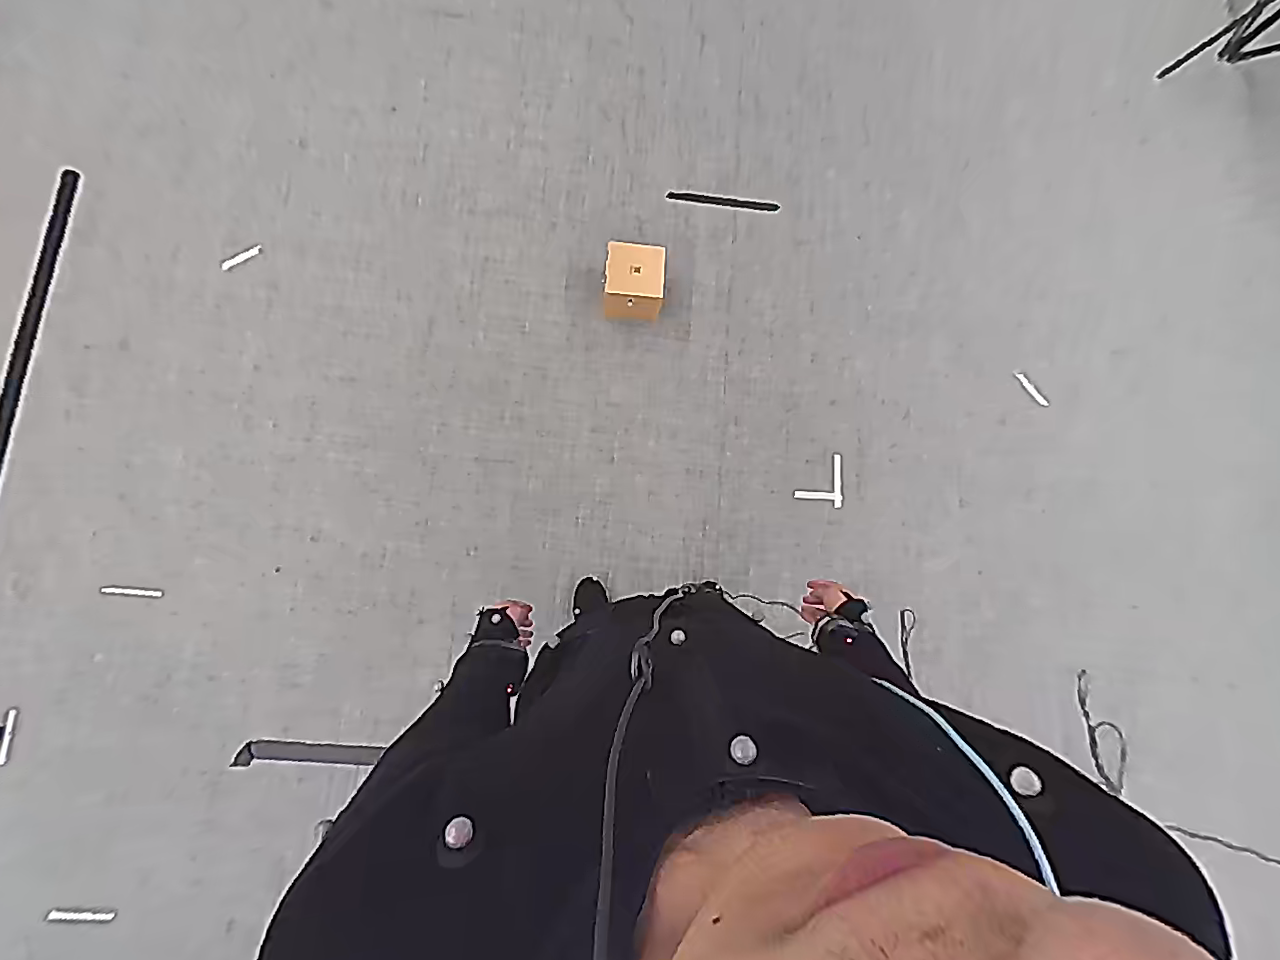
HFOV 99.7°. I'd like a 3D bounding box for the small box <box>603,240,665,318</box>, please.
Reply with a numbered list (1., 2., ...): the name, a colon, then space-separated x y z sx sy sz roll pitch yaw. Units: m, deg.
1. small box: -0.022 -0.622 1.690 0.179 0.176 0.168 4 82 -5
